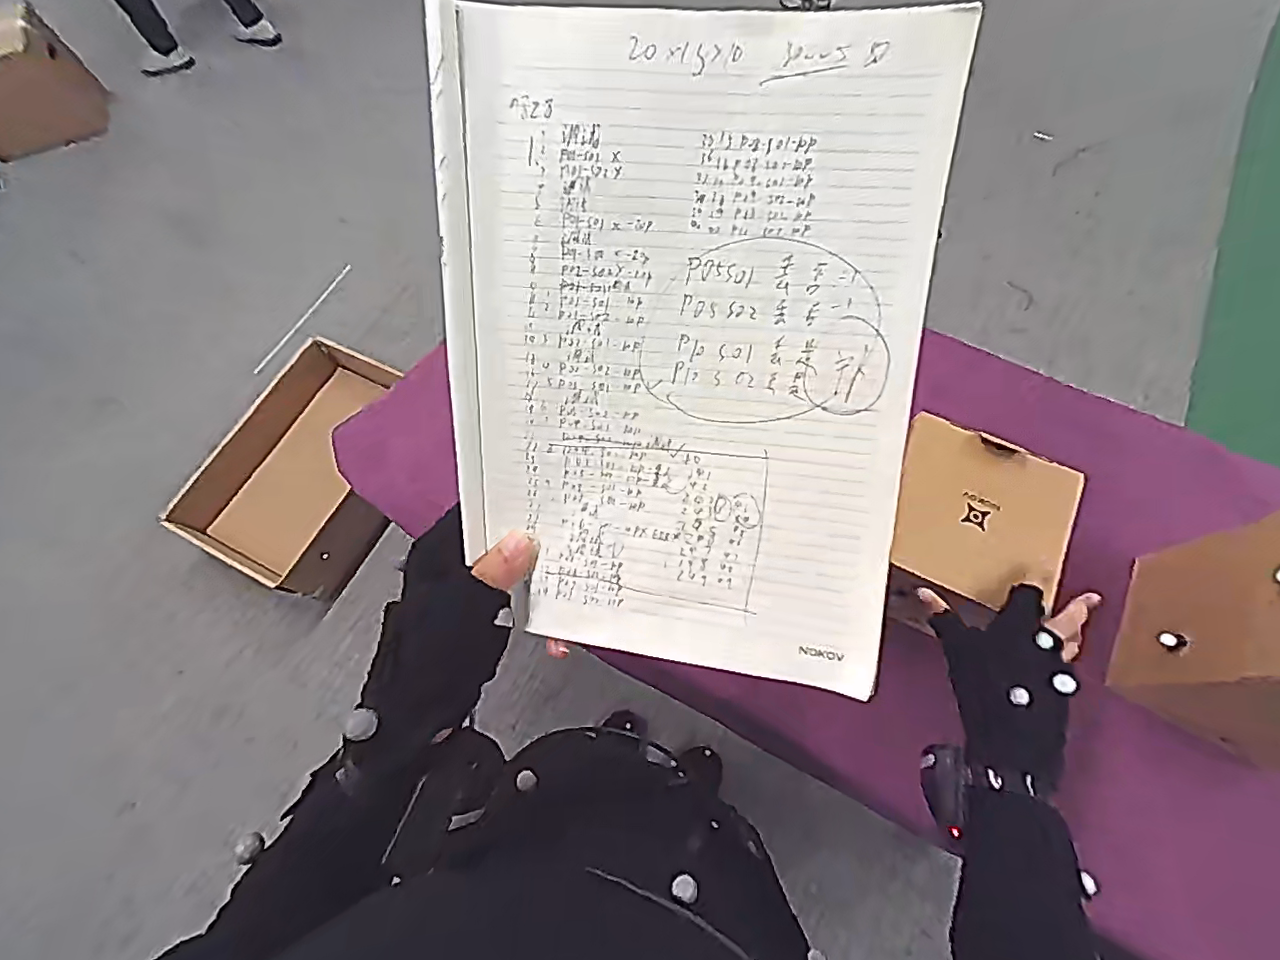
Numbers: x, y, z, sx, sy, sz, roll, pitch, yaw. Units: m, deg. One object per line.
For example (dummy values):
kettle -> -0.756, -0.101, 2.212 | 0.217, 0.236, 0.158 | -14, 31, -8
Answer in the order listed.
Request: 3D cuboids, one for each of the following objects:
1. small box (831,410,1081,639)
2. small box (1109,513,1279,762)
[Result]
small box -> 0.333, 0.060, 0.603 | 0.168, 0.176, 0.179 | 25, 71, 12
small box -> 0.630, 0.167, 0.543 | 0.168, 0.176, 0.179 | 28, 72, 13
